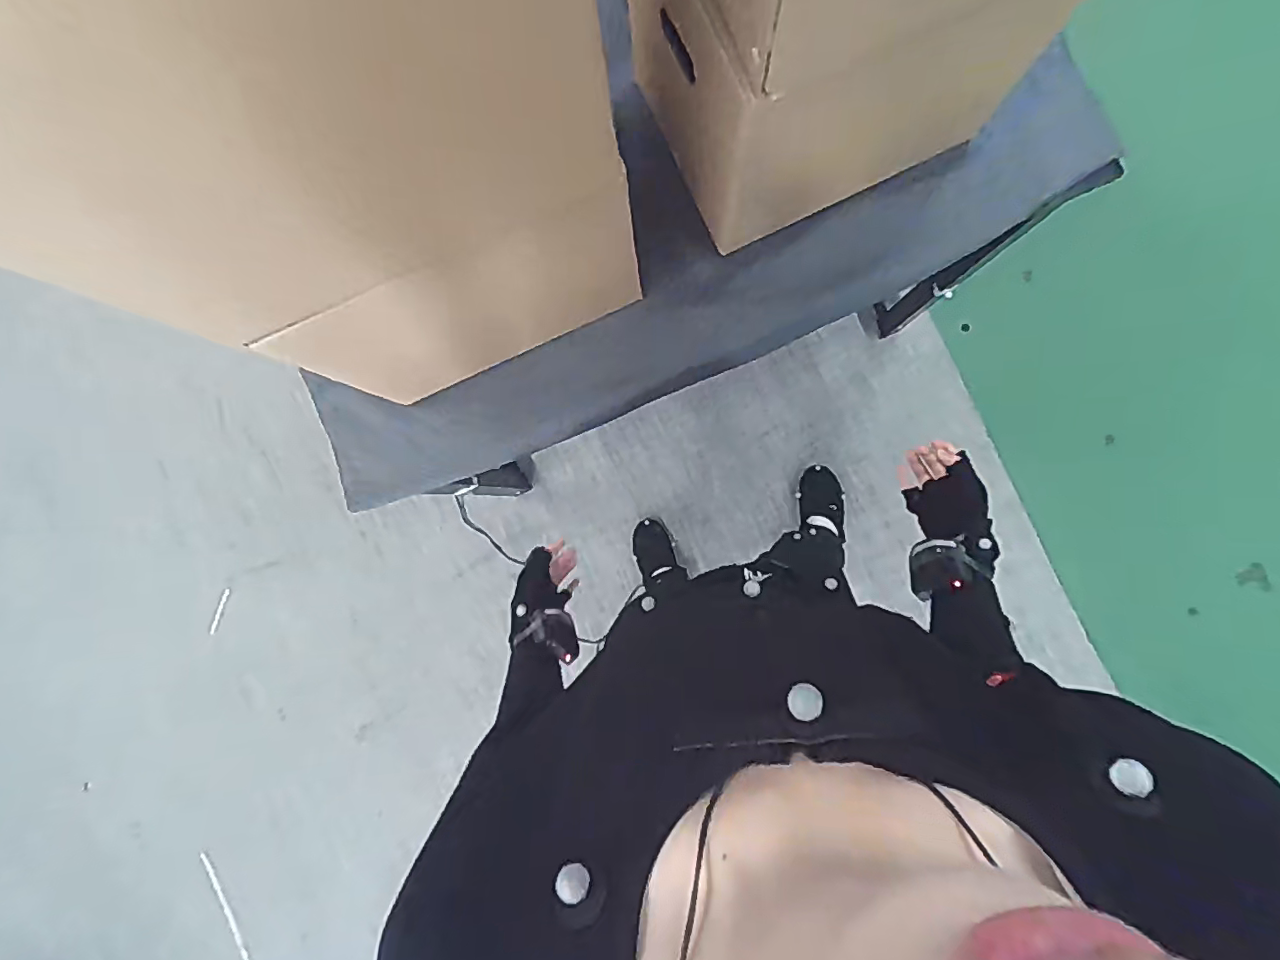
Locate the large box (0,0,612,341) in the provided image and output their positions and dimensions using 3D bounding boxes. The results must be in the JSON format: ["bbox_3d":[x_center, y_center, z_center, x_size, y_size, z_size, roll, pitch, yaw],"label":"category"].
[{"bbox_3d":[-0.267,-0.350,0.367,0.408,0.320,0.320,-23,87,0],"label":"large box"}]
